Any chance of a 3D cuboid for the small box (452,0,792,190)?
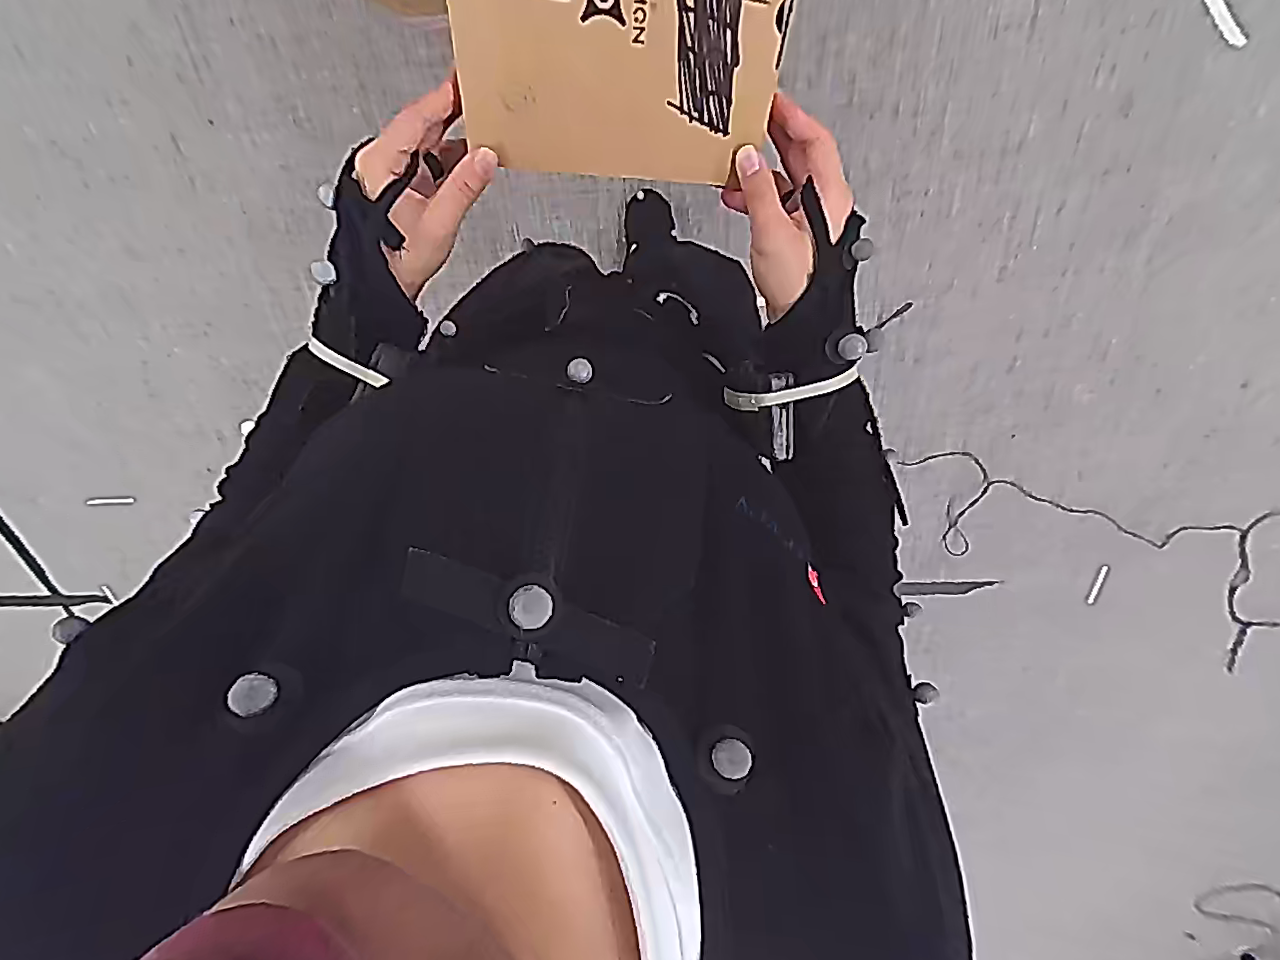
[{"bbox_3d":[-0.010,-0.301,0.331,0.179,0.176,0.168,3,137,-3],"label":"small box"}]
